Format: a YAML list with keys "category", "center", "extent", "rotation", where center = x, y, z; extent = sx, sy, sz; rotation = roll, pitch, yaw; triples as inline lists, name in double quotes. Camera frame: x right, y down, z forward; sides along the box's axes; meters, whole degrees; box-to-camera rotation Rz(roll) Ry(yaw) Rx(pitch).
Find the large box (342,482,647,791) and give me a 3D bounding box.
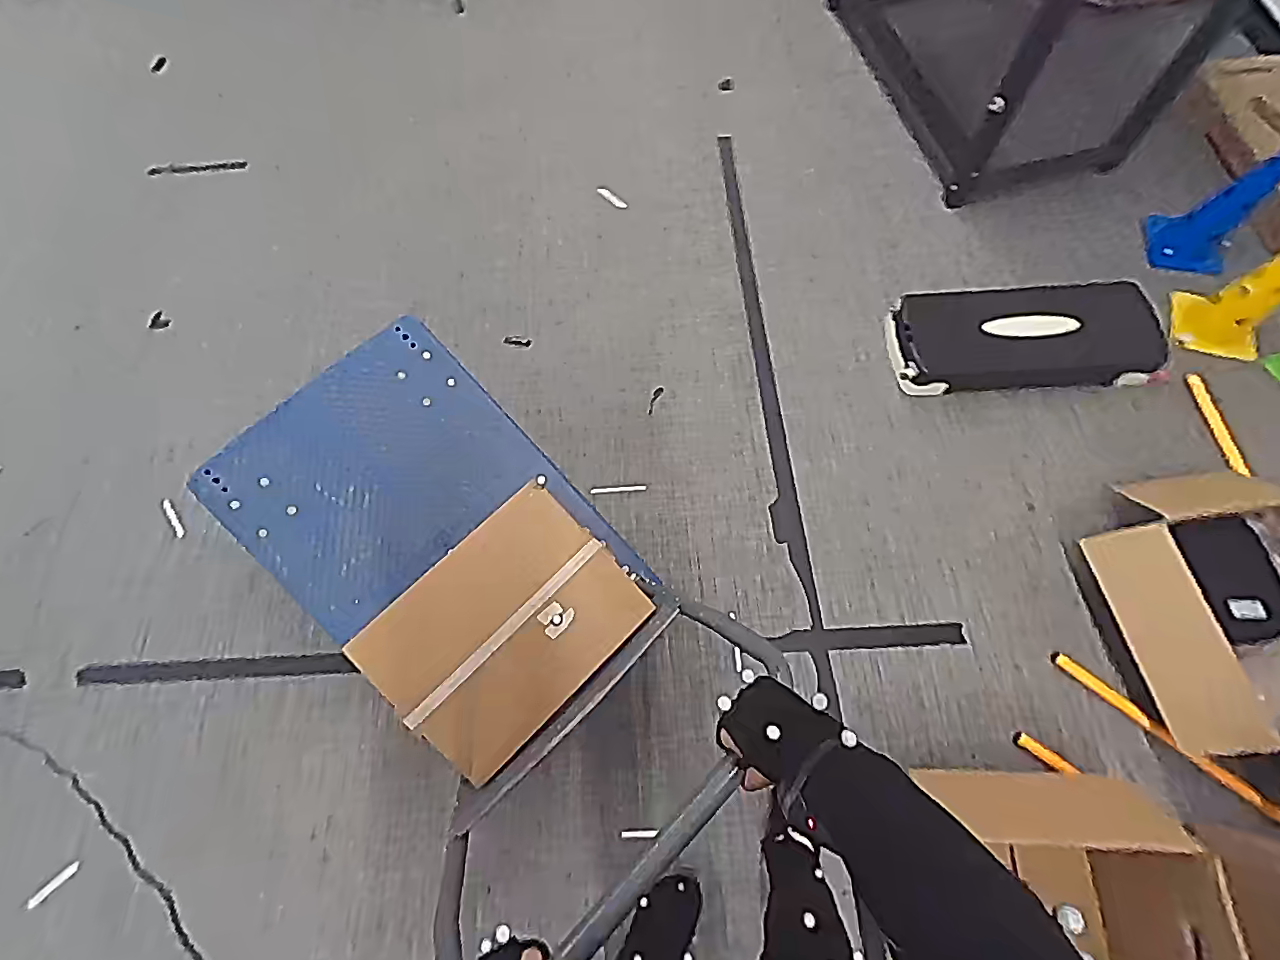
- category: "large box"
  center: [-0.254, 0.267, 1.028]
  extent: [0.408, 0.320, 0.320]
  rotation: [-44, 93, -14]
